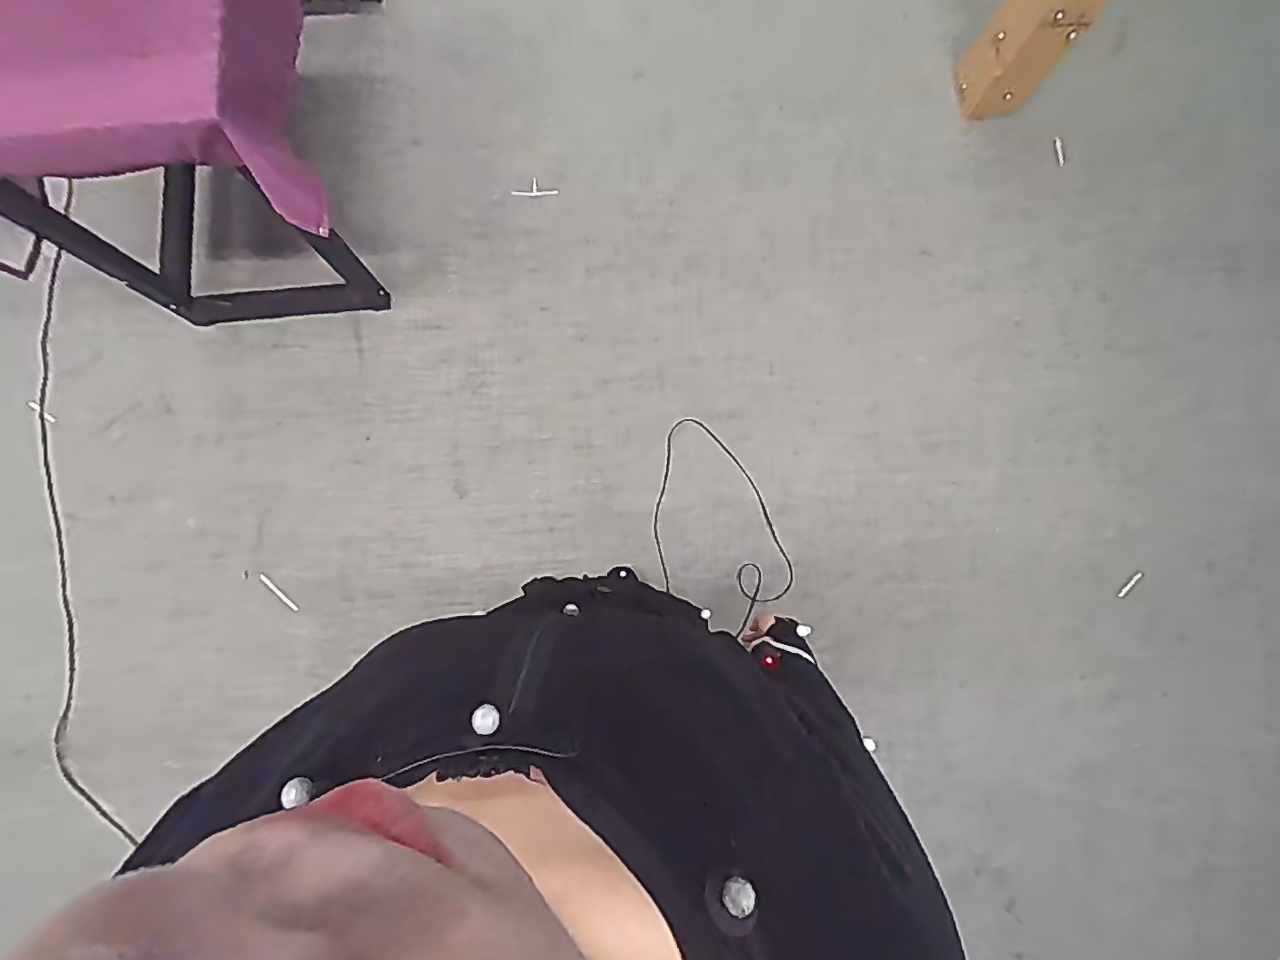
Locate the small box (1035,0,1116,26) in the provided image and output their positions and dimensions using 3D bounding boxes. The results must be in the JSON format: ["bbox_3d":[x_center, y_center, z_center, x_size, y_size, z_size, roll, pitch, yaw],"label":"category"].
[{"bbox_3d":[1.176,-1.340,1.421,0.168,0.176,0.179,-4,80,-2],"label":"small box"}]

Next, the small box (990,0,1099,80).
[{"bbox_3d":[1.177,-1.319,1.585,0.179,0.176,0.168,-6,80,-1],"label":"small box"}]
